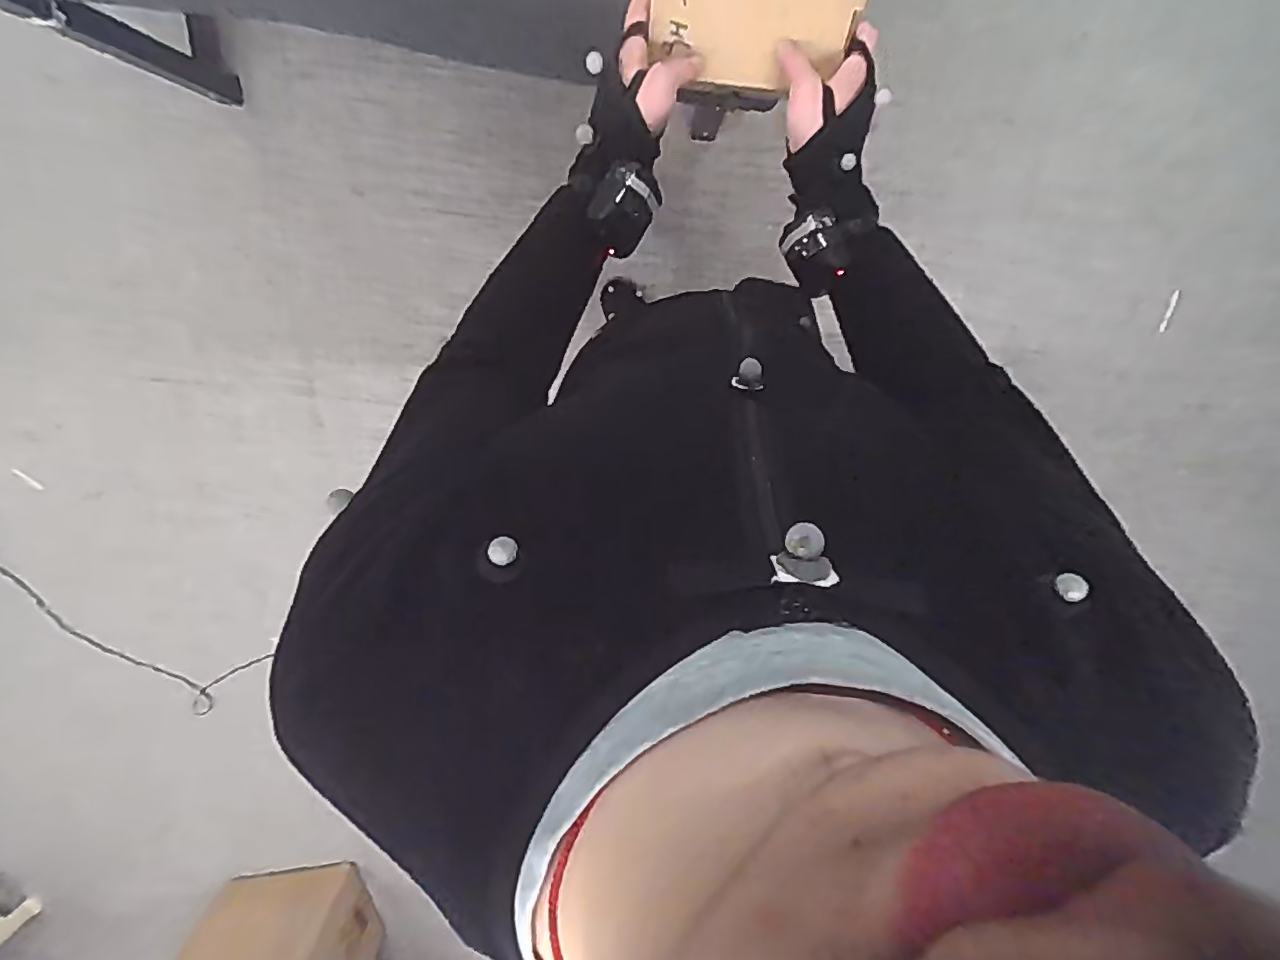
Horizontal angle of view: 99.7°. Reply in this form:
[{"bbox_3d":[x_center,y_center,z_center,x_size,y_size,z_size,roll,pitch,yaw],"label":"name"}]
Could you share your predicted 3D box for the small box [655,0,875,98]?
[{"bbox_3d":[0.110,-0.457,0.490,0.179,0.176,0.168,6,123,-1],"label":"small box"}]
